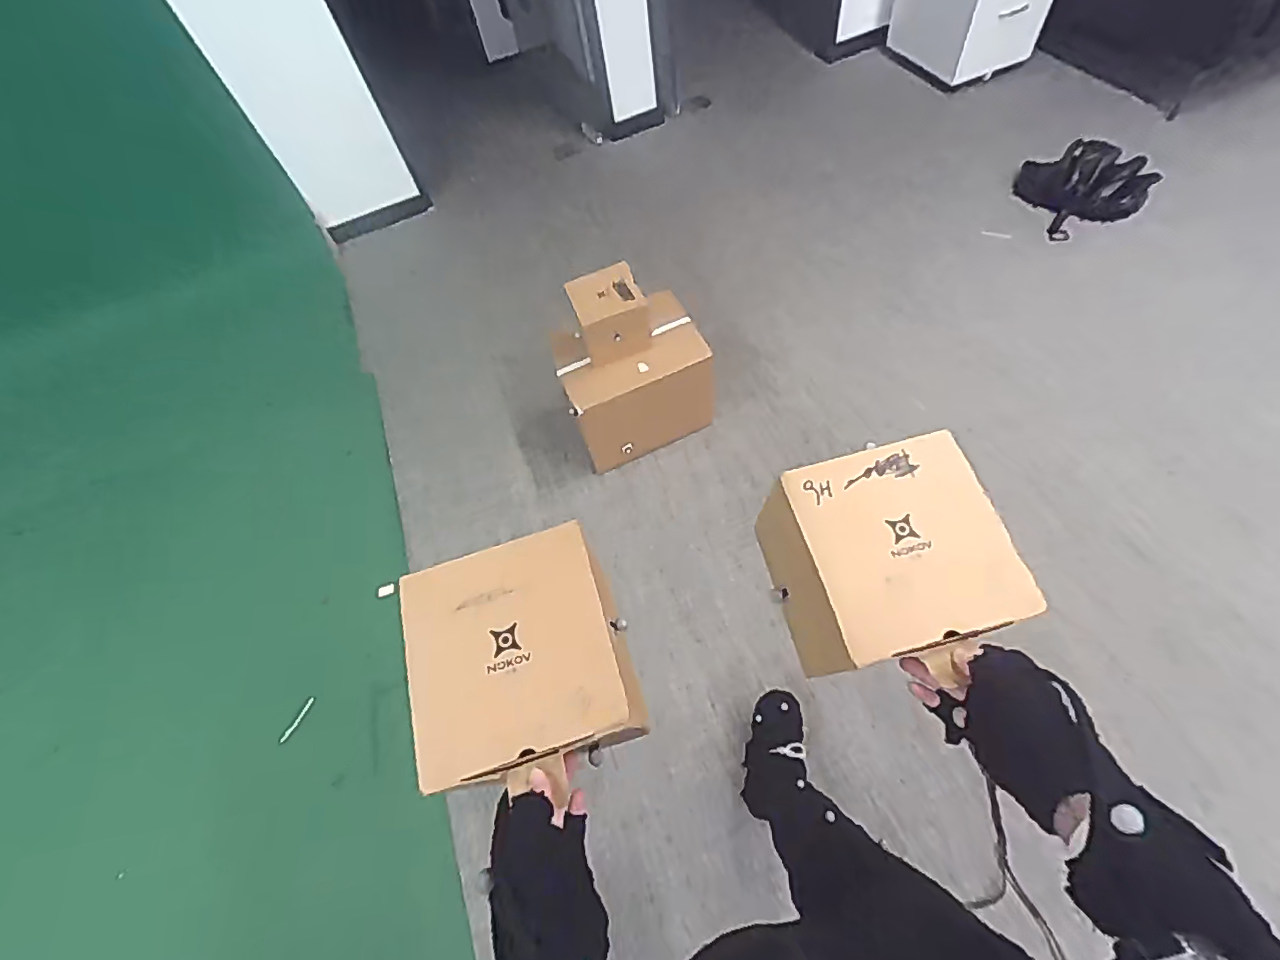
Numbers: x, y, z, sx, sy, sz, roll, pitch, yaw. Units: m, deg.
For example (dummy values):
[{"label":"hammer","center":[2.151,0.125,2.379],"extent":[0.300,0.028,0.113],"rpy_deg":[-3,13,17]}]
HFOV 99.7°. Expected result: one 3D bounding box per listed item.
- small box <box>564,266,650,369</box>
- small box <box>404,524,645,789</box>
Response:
[{"label":"small box","center":[-0.082,-0.429,1.443],"extent":[0.179,0.176,0.168],"rpy_deg":[-24,65,-6]},{"label":"small box","center":[-0.101,0.172,0.521],"extent":[0.168,0.176,0.179],"rpy_deg":[-19,62,-3]}]
